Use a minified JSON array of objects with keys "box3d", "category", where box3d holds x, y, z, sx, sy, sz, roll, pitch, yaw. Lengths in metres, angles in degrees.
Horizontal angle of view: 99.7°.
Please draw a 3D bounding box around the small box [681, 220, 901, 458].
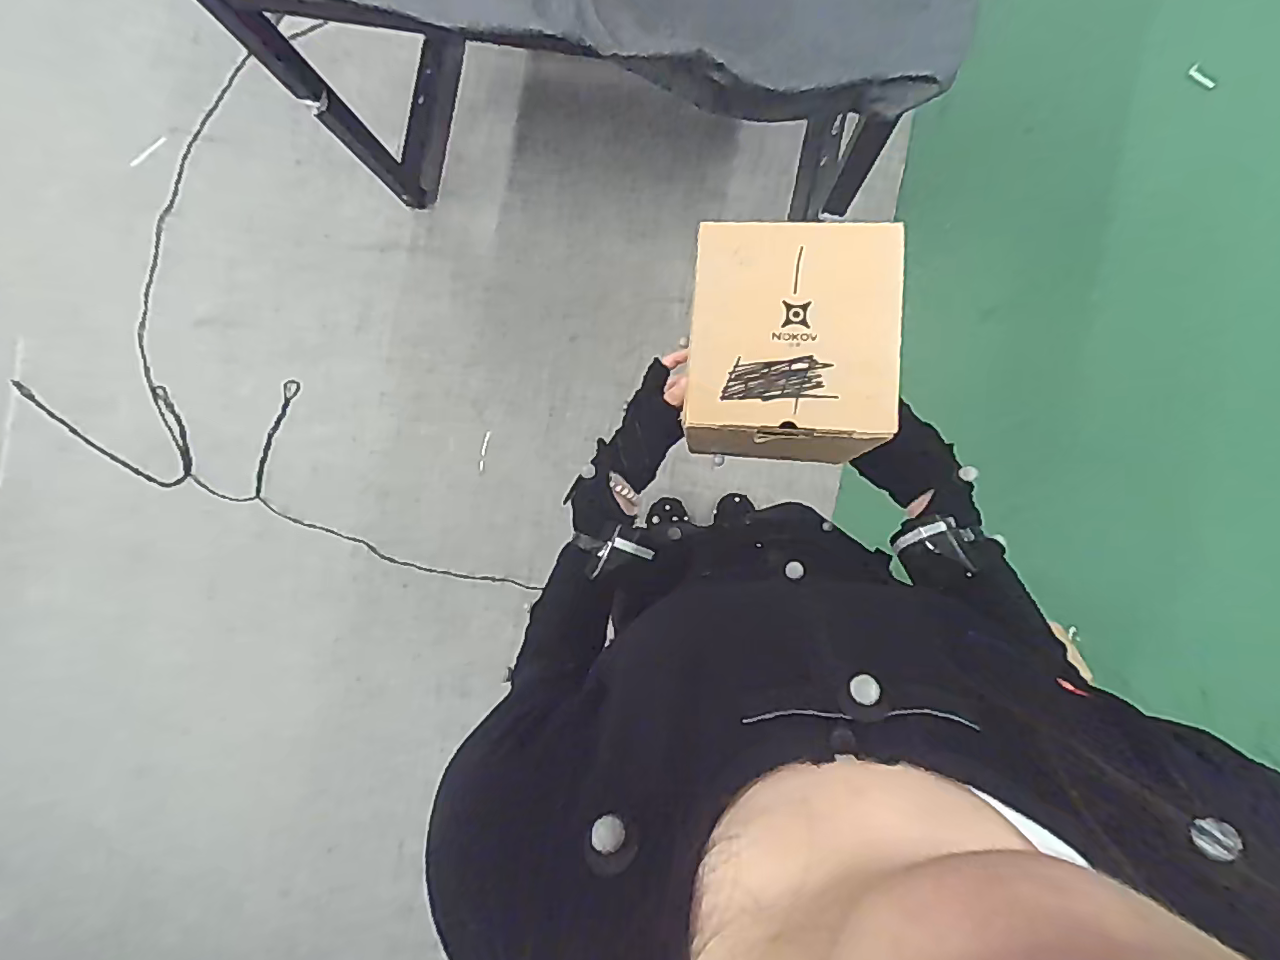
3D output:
[{"box3d":[0.131,-0.119,0.515,0.168,0.176,0.179,4,85,6],"category":"small box"}]
